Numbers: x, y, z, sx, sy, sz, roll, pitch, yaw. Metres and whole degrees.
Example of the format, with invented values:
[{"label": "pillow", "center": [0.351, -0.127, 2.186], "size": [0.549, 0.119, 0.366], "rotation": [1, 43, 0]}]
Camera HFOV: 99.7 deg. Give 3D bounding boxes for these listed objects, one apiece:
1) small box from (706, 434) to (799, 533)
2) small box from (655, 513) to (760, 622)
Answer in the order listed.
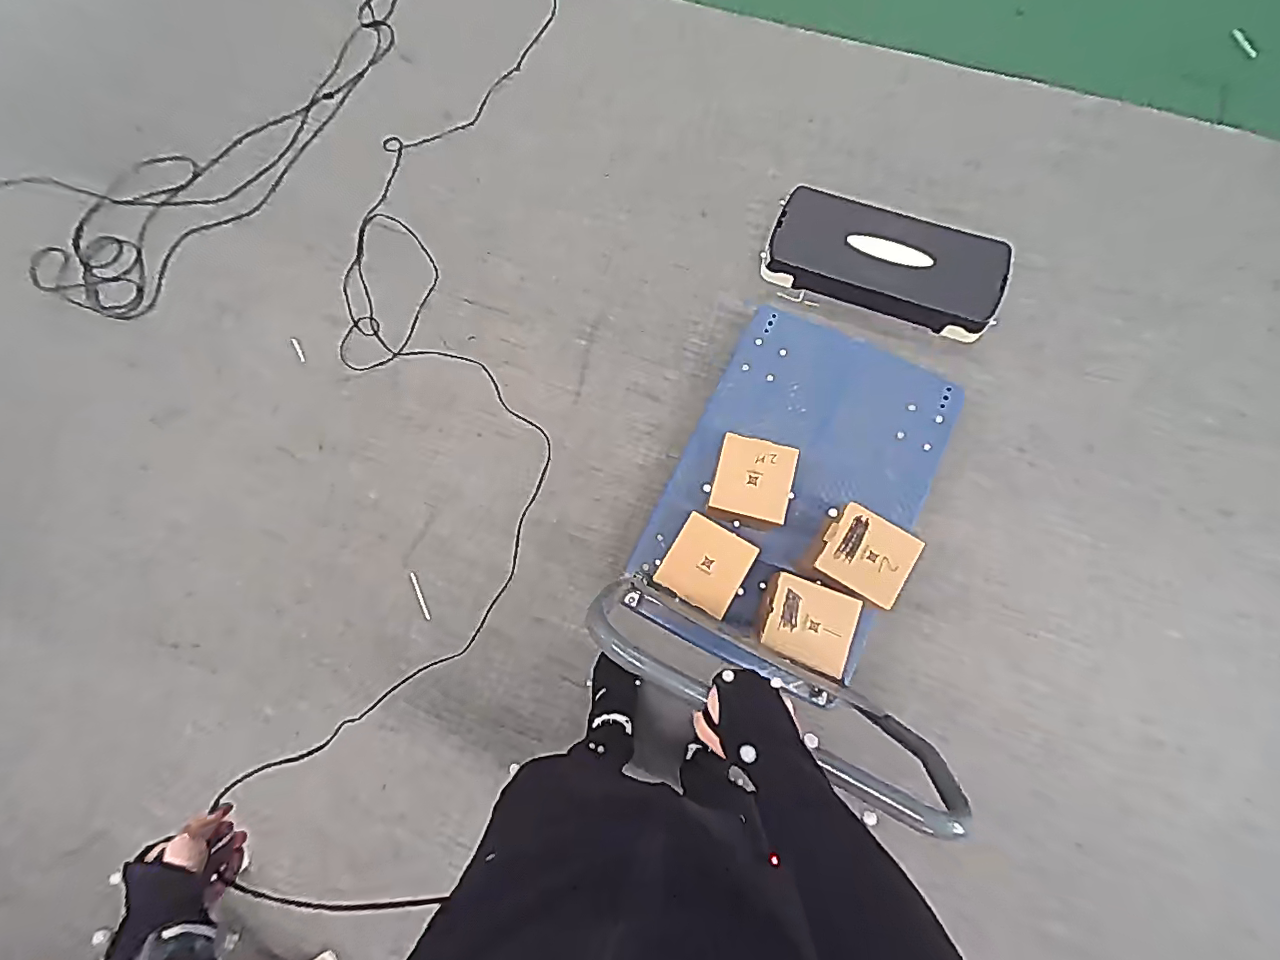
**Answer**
[{"label": "small box", "center": [0.253, 0.016, 1.251], "size": [0.168, 0.176, 0.179], "rotation": [15, 79, 5]}, {"label": "small box", "center": [0.144, 0.198, 1.218], "size": [0.168, 0.176, 0.179], "rotation": [31, 81, 8]}]
